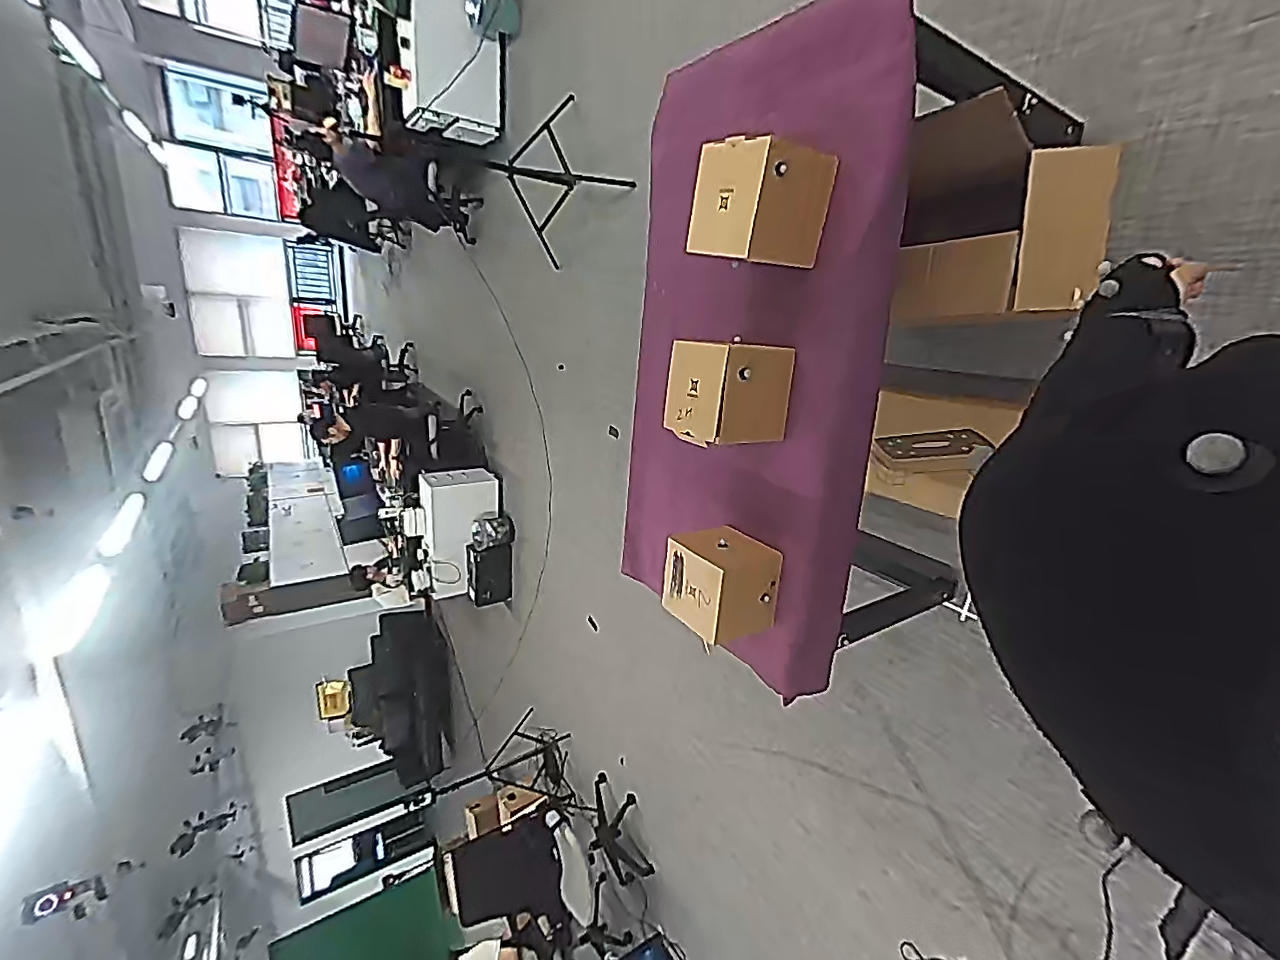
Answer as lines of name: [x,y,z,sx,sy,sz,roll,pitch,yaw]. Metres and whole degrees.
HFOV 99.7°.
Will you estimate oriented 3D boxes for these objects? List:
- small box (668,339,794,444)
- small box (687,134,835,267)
small box: [0.174,-0.174,1.041,0.168,0.176,0.179,28,119,55]
small box: [0.207,-0.472,0.934,0.168,0.176,0.179,35,124,49]
